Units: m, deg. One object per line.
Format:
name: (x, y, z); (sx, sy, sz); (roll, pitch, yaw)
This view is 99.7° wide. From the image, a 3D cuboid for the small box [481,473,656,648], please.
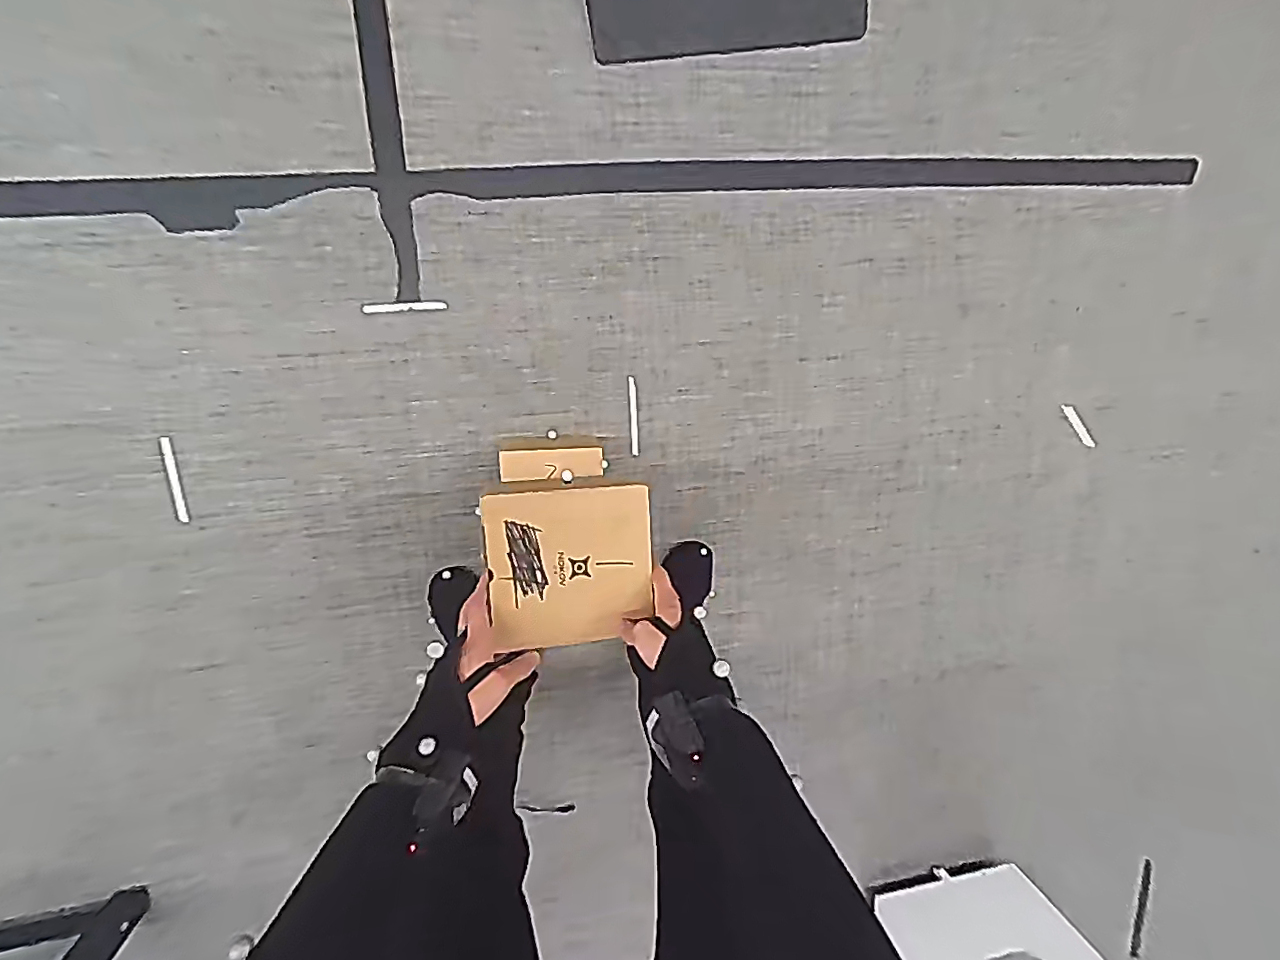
small box: (-0.087, 0.081, 0.637); (0.179, 0.176, 0.168); (-4, 95, -14)
